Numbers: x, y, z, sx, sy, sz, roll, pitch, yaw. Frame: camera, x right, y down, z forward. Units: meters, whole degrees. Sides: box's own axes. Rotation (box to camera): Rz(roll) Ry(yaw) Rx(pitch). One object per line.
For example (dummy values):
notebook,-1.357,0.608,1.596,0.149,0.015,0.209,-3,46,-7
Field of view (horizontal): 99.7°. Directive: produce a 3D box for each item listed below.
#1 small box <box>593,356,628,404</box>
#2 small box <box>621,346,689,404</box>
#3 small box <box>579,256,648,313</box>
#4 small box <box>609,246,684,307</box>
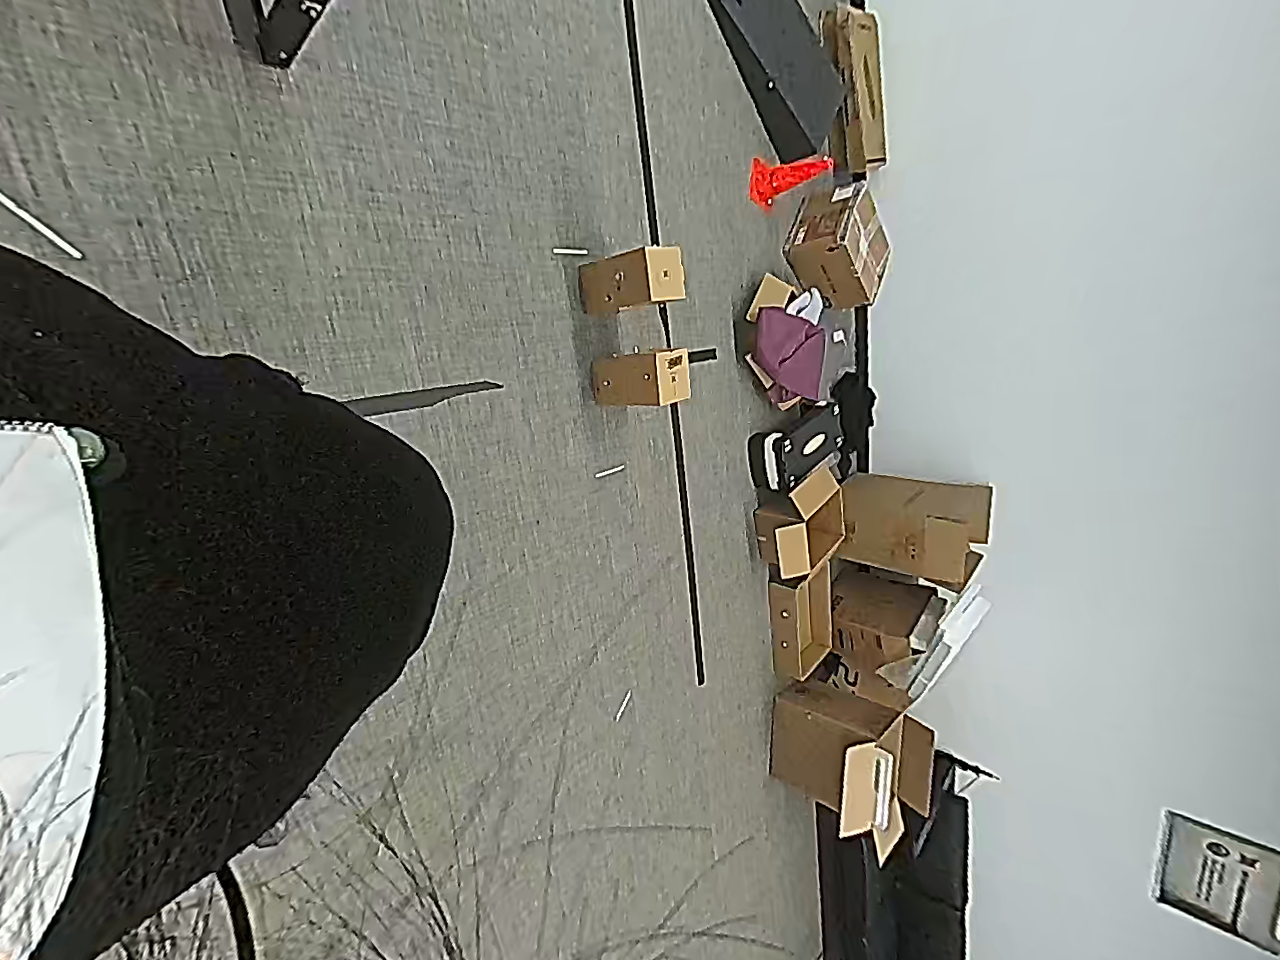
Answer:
small box,-0.059,-0.374,1.997,0.179,0.176,0.168,-19,110,-42
small box,0.048,-0.361,1.869,0.168,0.176,0.179,-22,112,-42
small box,-0.092,-0.689,1.911,0.168,0.176,0.179,-24,112,-42
small box,0.021,-0.674,1.795,0.179,0.176,0.168,-22,110,-41
